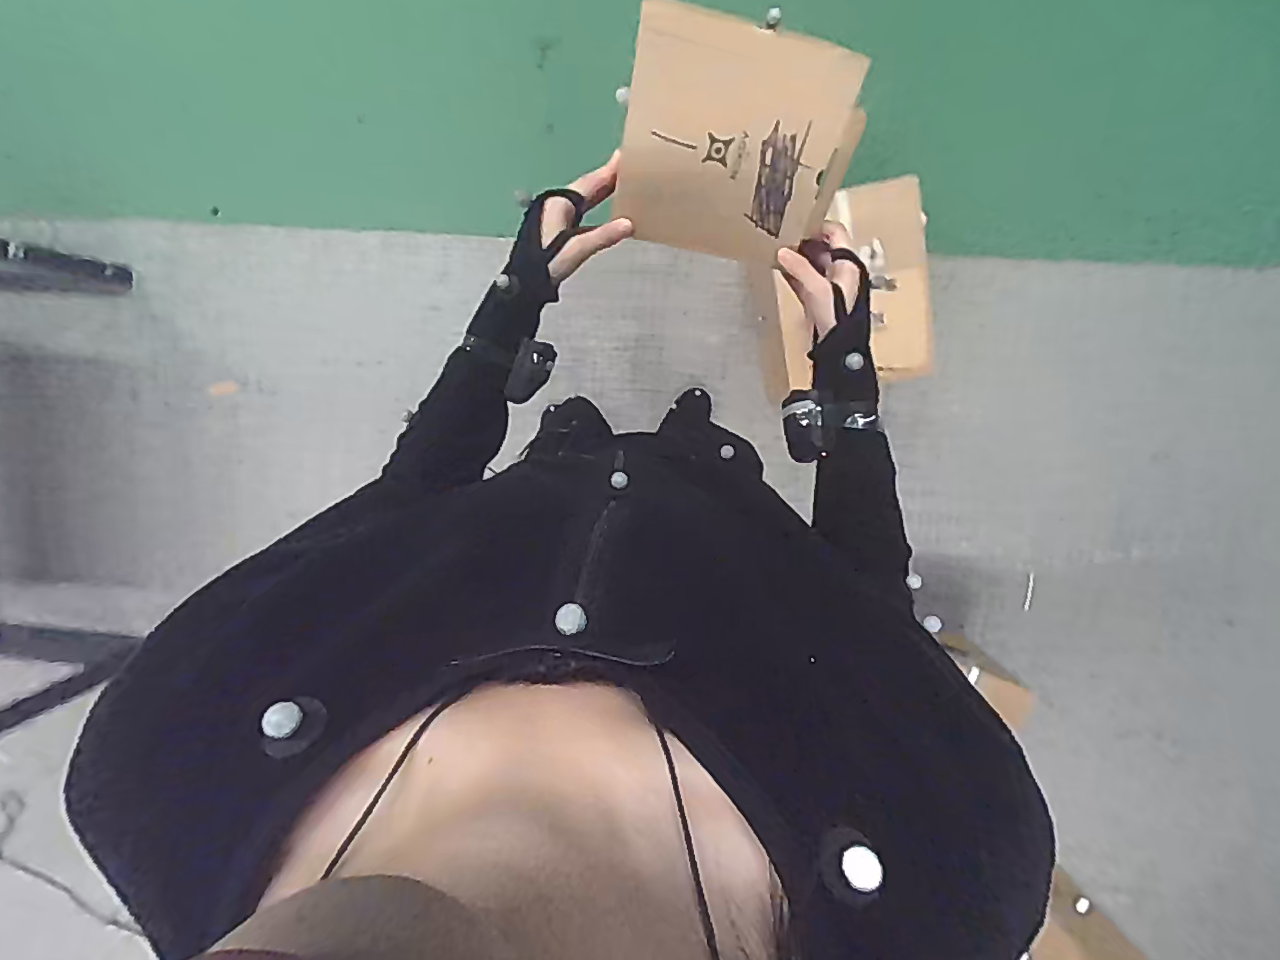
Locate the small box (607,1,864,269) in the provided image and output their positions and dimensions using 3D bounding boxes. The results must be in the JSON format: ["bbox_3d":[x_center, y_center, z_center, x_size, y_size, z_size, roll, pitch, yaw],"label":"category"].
[{"bbox_3d":[0.073,-0.324,0.507,0.179,0.176,0.168,10,131,-5],"label":"small box"}]

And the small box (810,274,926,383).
[{"bbox_3d":[0.432,-0.283,1.044,0.168,0.176,0.179,-5,98,5],"label":"small box"}]

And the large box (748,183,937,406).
[{"bbox_3d":[0.451,-0.402,1.276,0.320,0.320,0.408,-10,96,4],"label":"large box"}]
